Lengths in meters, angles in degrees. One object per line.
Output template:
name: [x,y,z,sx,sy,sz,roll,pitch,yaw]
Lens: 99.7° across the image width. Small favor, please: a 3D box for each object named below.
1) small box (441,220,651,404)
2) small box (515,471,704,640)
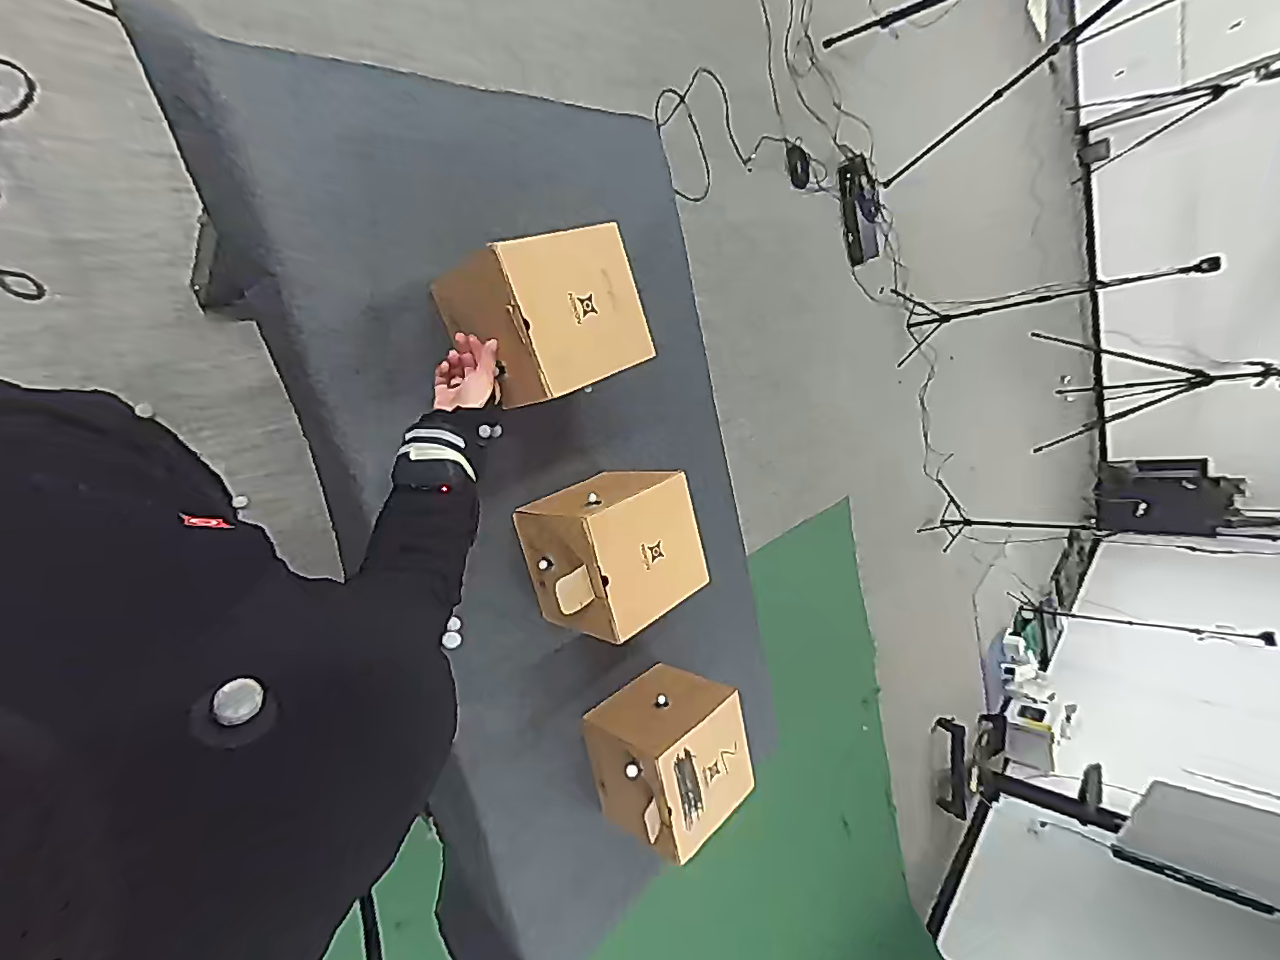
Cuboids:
small box: [-0.121,-0.200,0.669,0.179,0.176,0.168,-33,113,-39]
small box: [-0.042,0.088,0.745,0.179,0.176,0.168,-25,107,-39]
